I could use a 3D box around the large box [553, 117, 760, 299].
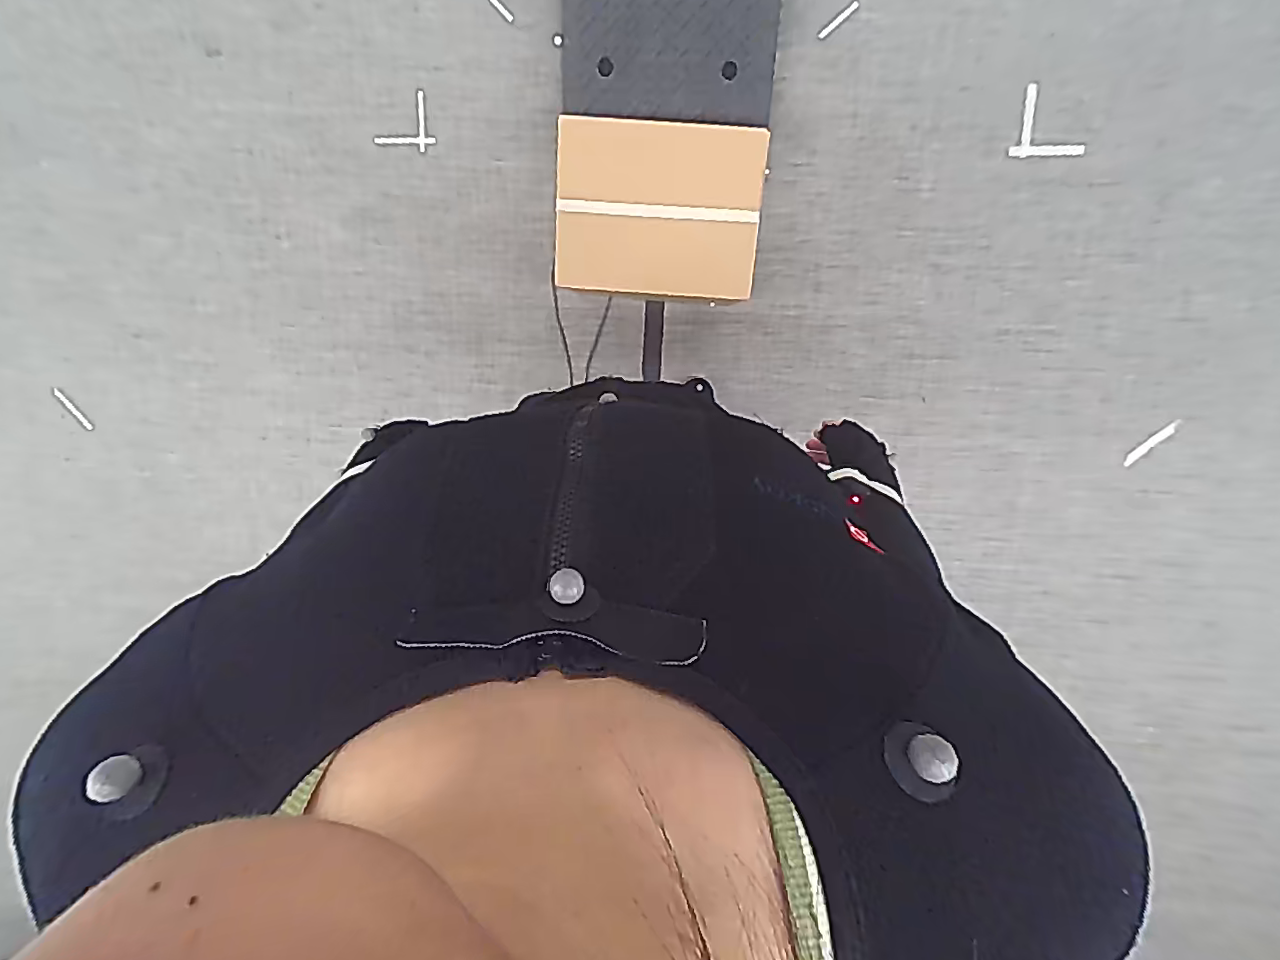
[{"bbox_3d":[0.031,-0.581,1.218,0.408,0.320,0.320,4,106,0],"label":"large box"}]

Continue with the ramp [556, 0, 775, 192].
[{"bbox_3d":[0.060,-1.152,1.169,0.509,0.206,0.991,1,102,0],"label":"ramp"}]
